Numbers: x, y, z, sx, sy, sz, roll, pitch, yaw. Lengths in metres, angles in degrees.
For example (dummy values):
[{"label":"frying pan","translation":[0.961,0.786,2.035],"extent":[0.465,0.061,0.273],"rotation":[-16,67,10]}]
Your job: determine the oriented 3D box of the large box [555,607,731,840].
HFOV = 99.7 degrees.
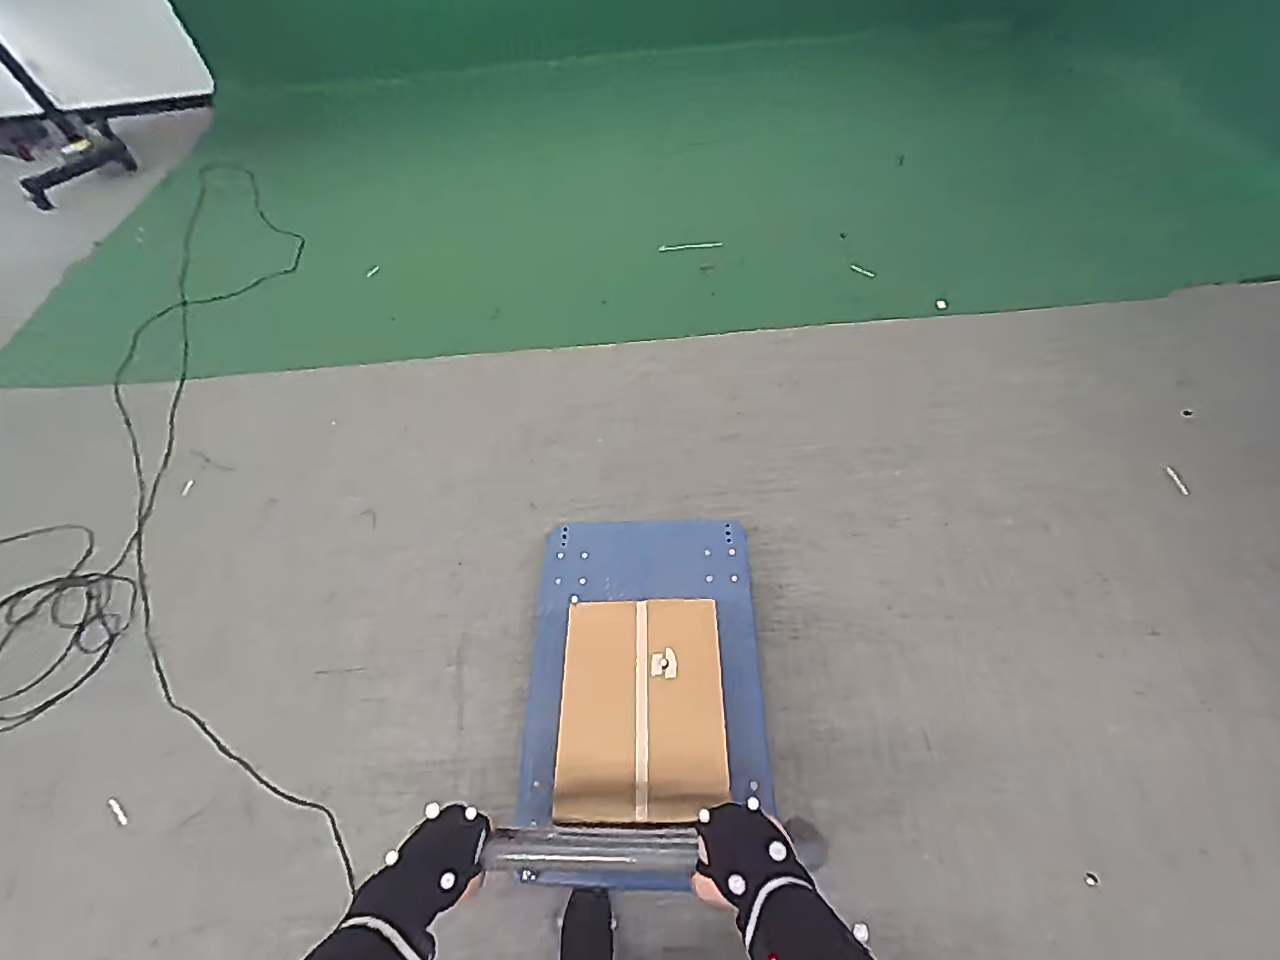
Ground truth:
[{"label":"large box","translation":[0.014,0.528,1.167],"extent":[0.320,0.320,0.408],"rotation":[-2,54,4]}]
